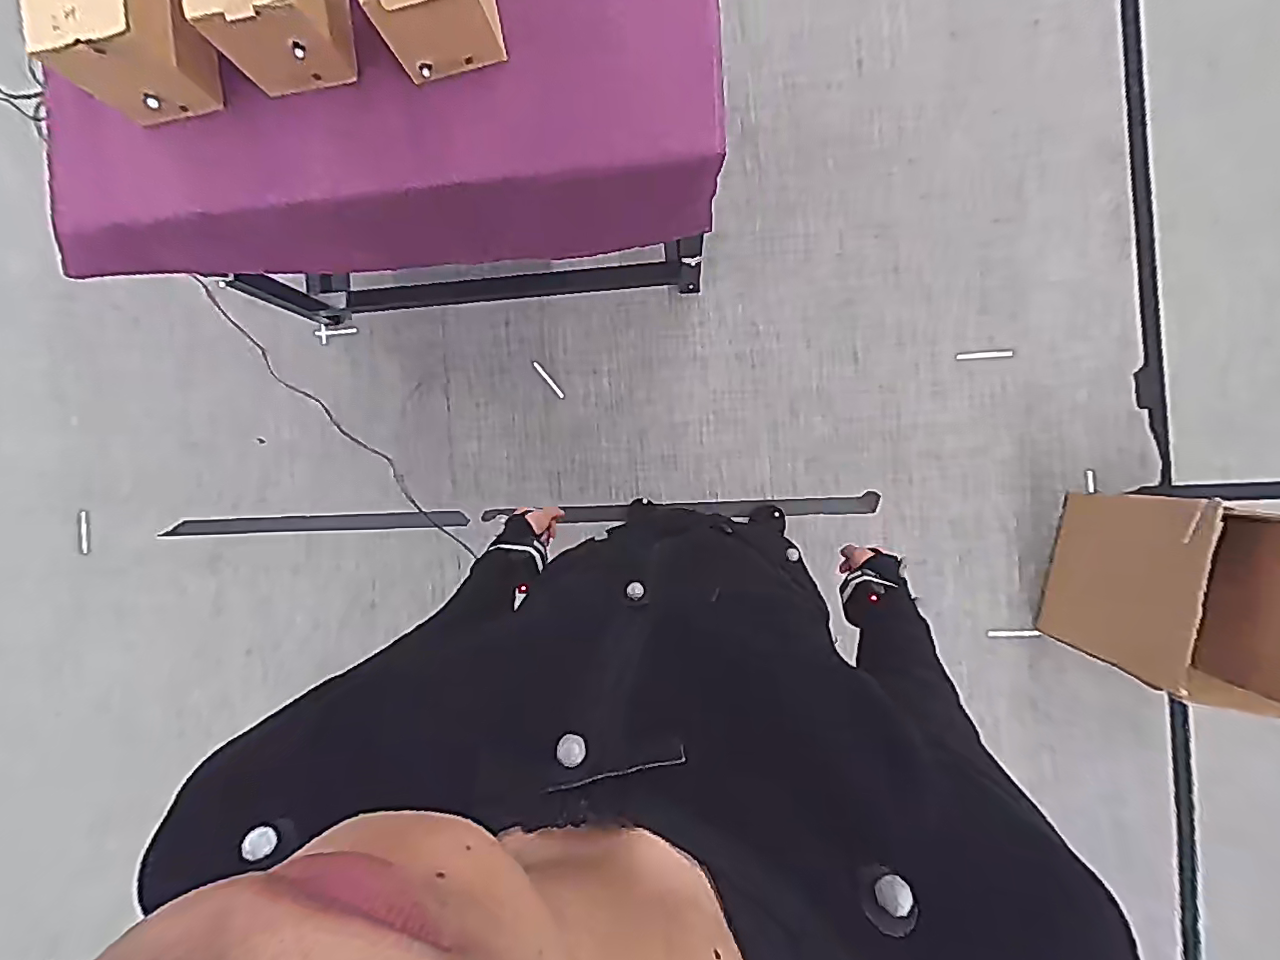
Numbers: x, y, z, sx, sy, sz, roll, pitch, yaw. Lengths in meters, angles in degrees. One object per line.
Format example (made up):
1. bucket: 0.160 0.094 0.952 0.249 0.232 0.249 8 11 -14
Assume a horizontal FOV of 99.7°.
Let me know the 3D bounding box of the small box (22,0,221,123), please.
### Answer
1. small box: -0.828 -0.726 0.875 0.168 0.176 0.179 -8 90 6

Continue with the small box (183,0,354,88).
1. small box: -0.580 -0.762 0.856 0.168 0.176 0.179 -6 90 4

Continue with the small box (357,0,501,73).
1. small box: -0.329 -0.775 0.833 0.168 0.176 0.179 -11 89 5
